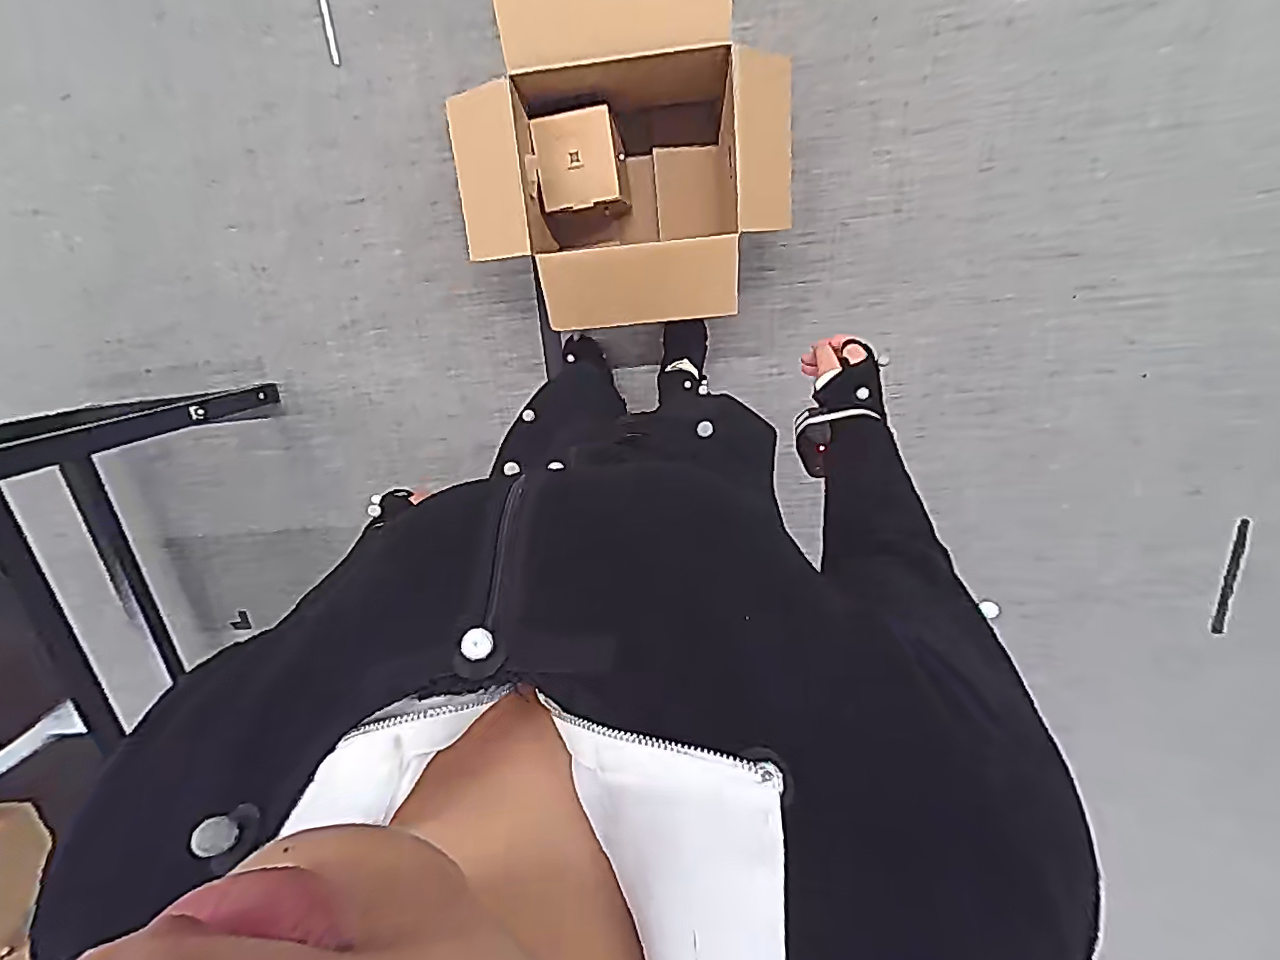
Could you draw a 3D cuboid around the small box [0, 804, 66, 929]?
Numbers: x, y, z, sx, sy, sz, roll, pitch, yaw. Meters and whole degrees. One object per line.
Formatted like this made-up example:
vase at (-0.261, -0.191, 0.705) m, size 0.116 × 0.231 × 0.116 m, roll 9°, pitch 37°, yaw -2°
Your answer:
small box at (-1.229, 0.716, 0.981) m, size 0.168 × 0.176 × 0.179 m, roll -4°, pitch 108°, yaw 6°
